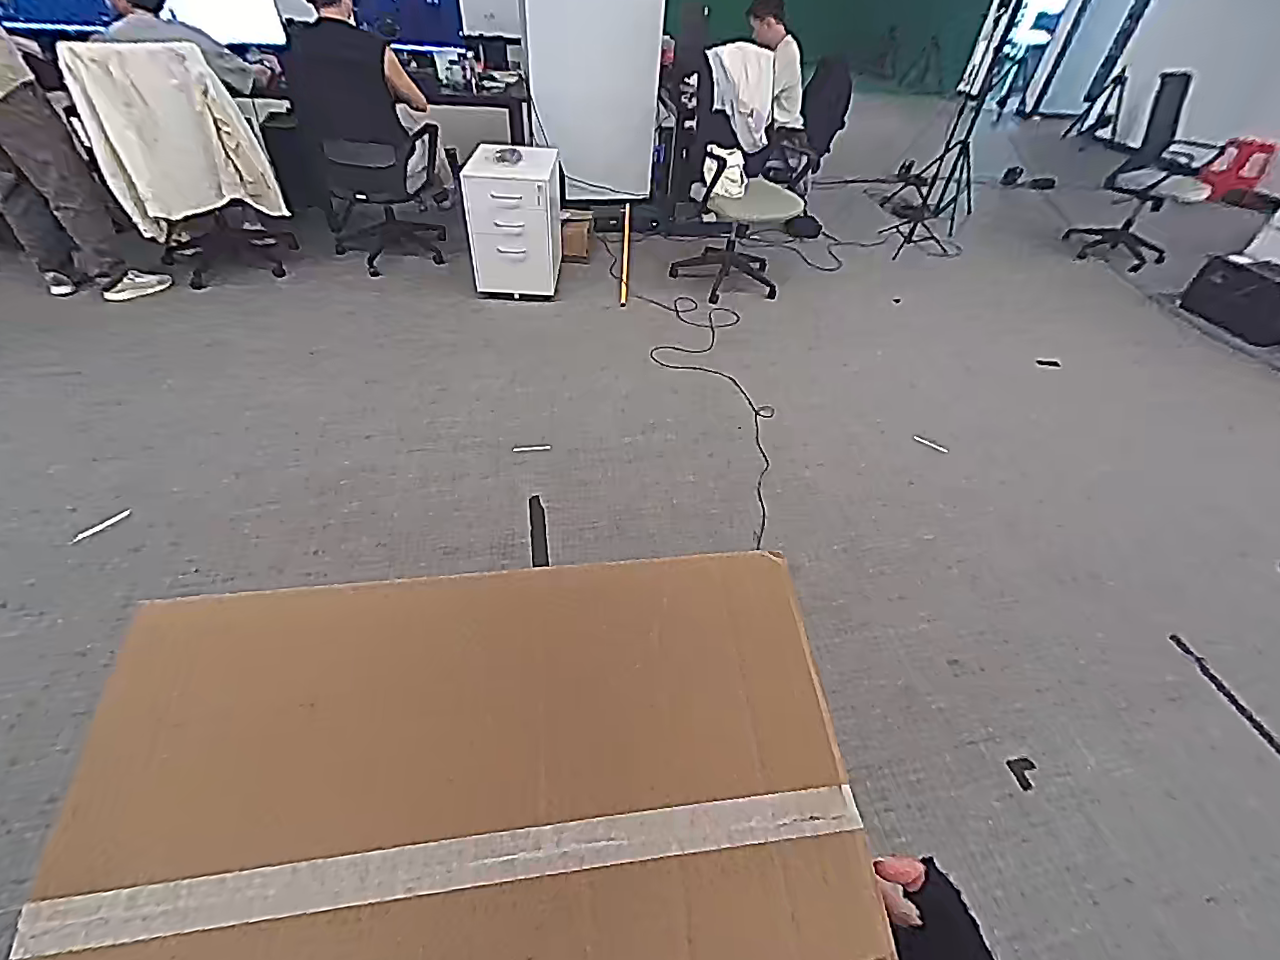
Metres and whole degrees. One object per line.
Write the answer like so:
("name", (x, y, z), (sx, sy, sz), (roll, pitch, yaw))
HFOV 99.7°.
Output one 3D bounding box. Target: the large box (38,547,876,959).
("large box", (-0.097, 0.270, 0.414), (0.408, 0.320, 0.320), (-3, 60, -7))
